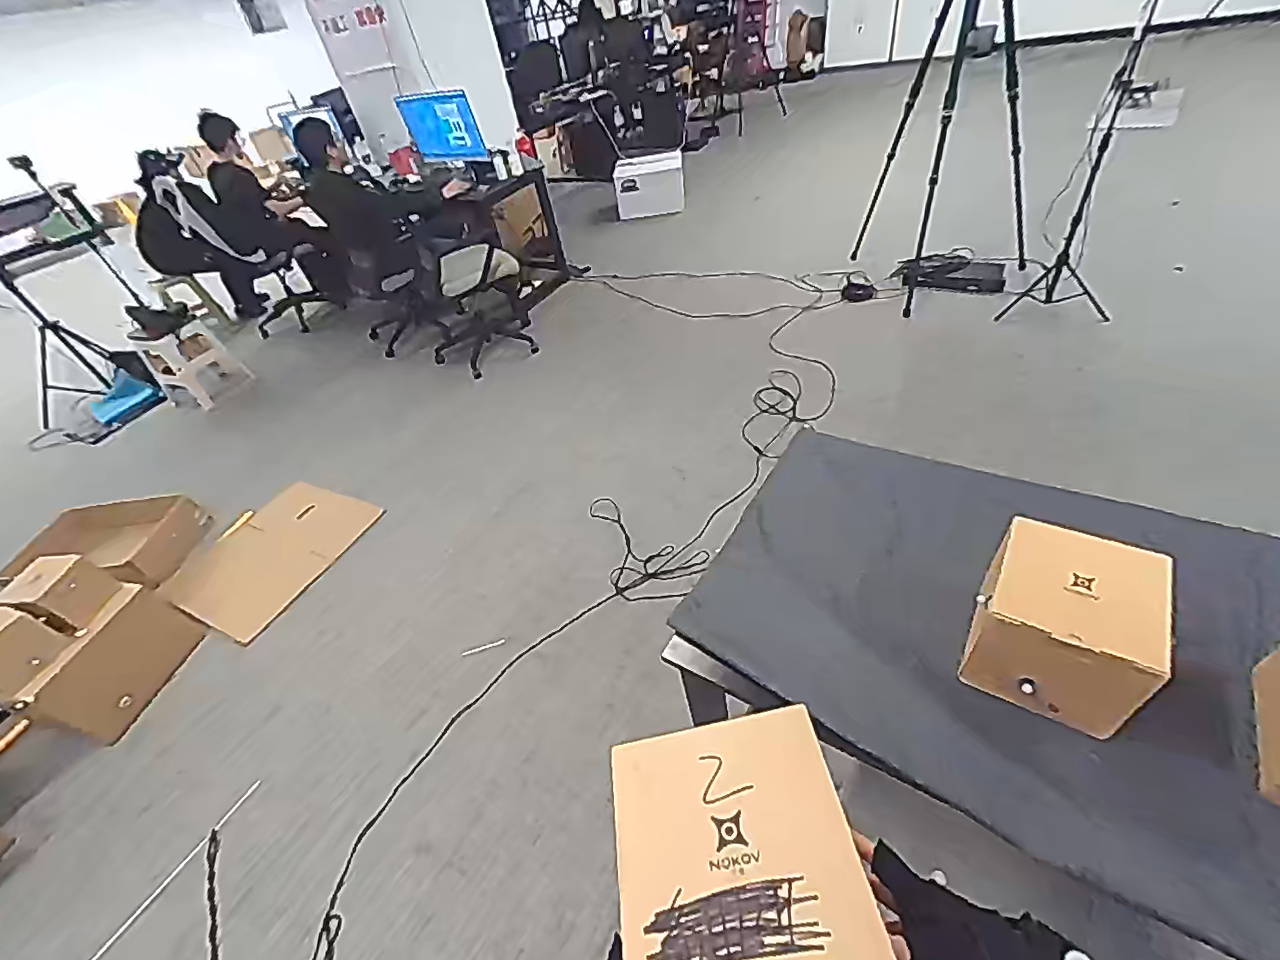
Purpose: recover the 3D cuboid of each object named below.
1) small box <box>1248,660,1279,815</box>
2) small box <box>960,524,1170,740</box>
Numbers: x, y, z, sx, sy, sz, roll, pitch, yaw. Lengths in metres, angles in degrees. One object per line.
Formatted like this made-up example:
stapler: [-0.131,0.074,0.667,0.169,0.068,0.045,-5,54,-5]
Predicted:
small box: [0.788,0.274,0.558,0.168,0.176,0.179,19,51,30]
small box: [0.540,0.195,0.703,0.168,0.176,0.179,19,51,29]
